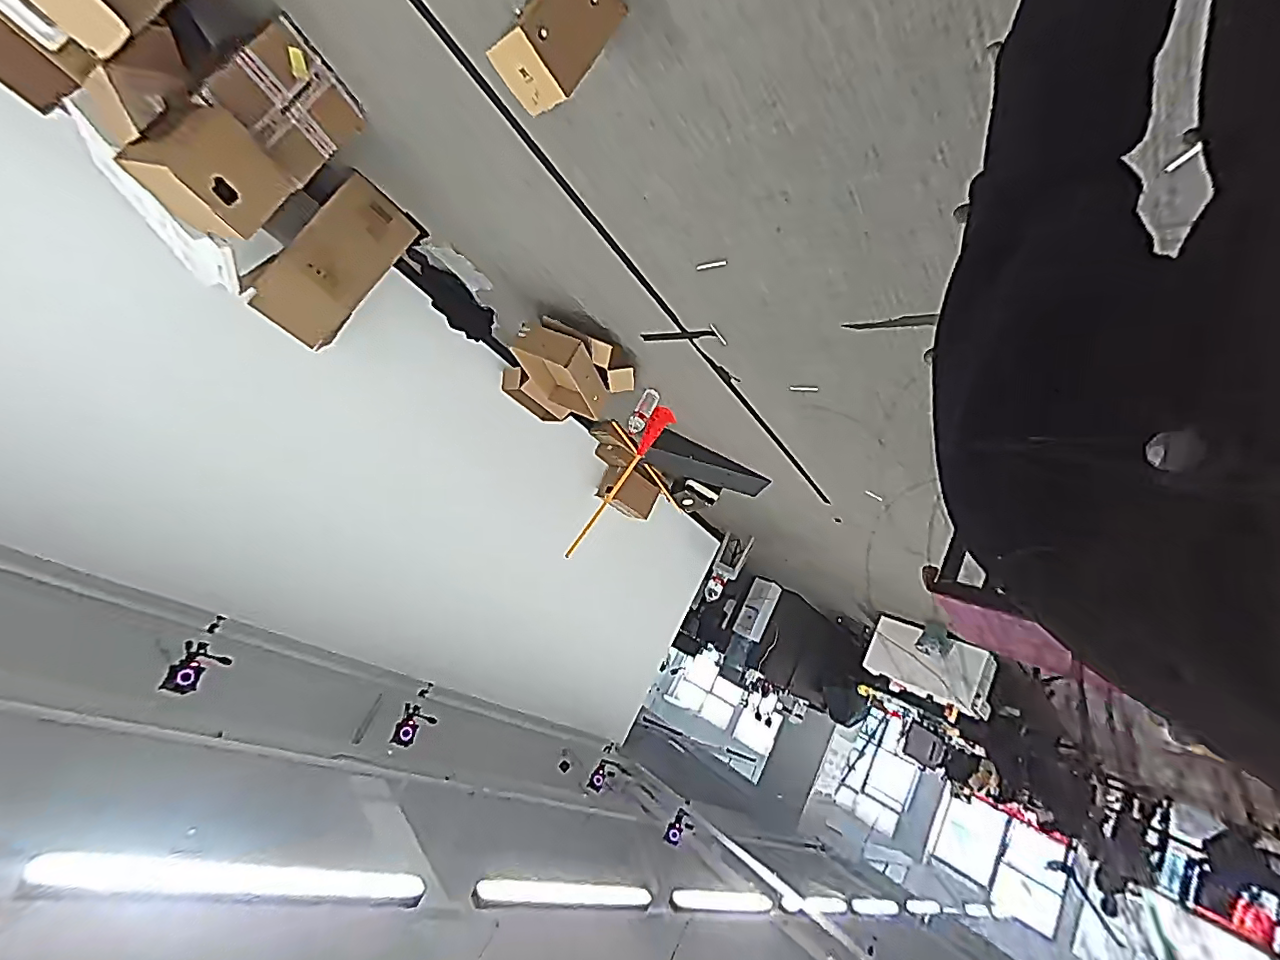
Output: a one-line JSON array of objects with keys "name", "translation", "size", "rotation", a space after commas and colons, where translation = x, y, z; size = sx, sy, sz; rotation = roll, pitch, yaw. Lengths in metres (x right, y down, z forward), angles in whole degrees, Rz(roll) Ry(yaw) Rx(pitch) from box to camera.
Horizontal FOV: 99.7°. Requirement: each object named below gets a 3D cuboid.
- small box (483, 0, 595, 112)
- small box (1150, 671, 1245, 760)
[{"name": "small box", "translation": [-0.248, -1.079, 1.351], "size": [0.168, 0.176, 0.179], "rotation": [16, 162, 45]}, {"name": "small box", "translation": [1.667, 0.699, 1.616], "size": [0.168, 0.176, 0.179], "rotation": [39, 164, -36]}]
